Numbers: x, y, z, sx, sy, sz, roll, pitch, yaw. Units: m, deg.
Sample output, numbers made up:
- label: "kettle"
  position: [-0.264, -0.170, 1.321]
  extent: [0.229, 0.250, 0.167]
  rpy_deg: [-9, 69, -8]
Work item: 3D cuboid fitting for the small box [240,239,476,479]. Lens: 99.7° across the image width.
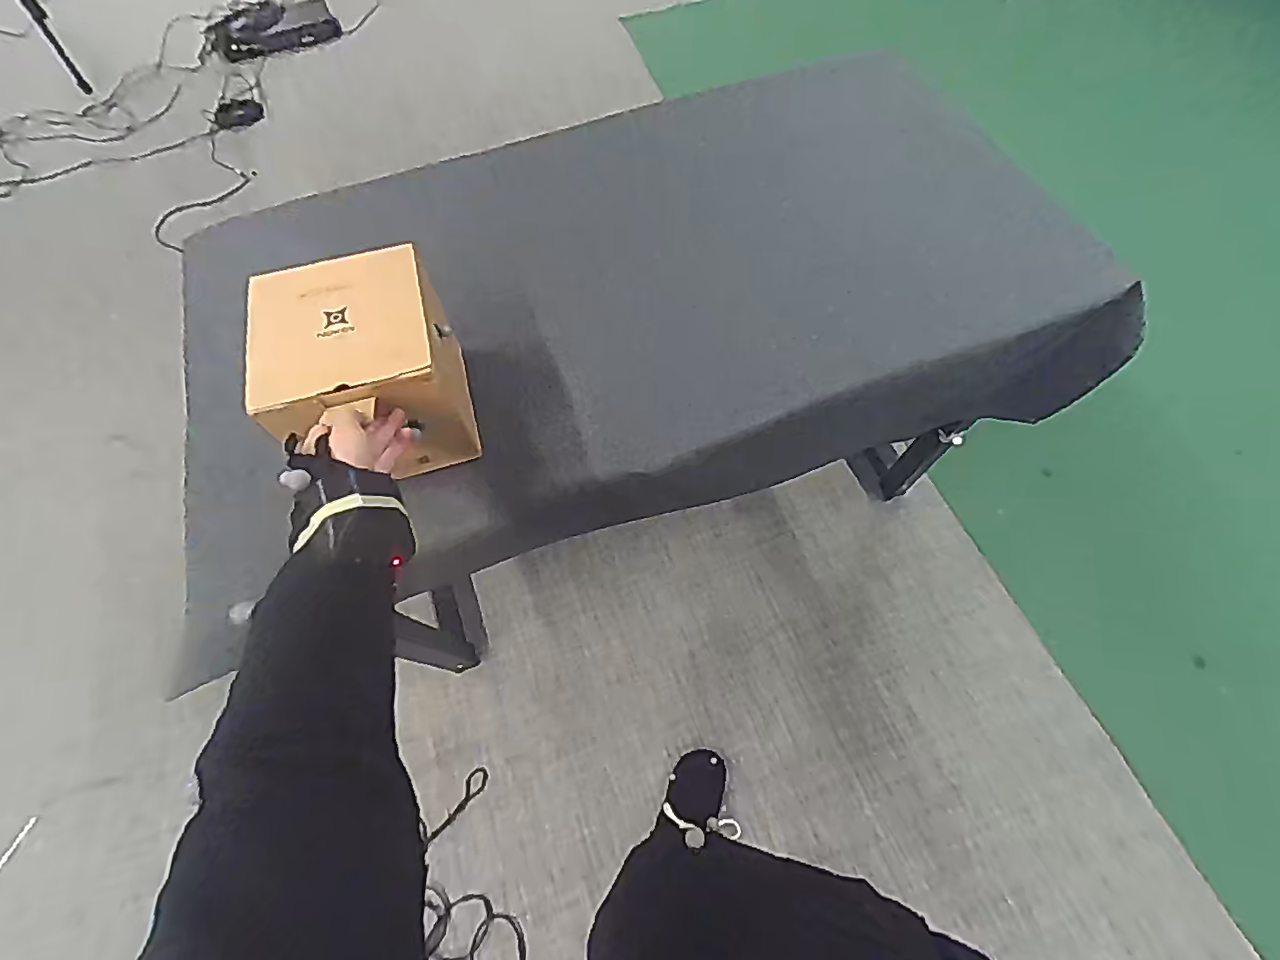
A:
- label: "small box"
  position: [-0.289, -0.118, 0.582]
  extent: [0.168, 0.176, 0.179]
  rpy_deg: [-16, 63, -8]
